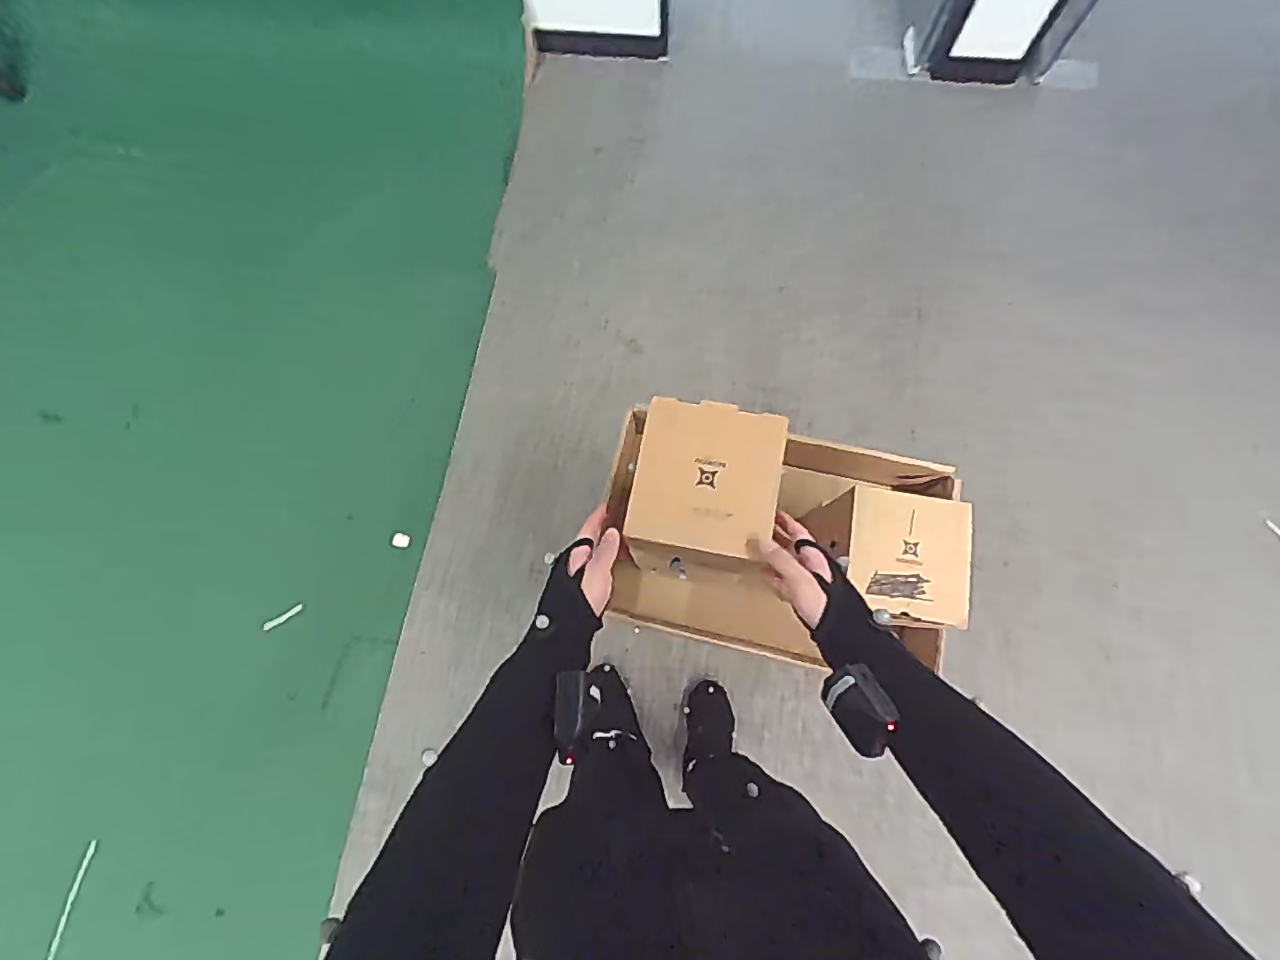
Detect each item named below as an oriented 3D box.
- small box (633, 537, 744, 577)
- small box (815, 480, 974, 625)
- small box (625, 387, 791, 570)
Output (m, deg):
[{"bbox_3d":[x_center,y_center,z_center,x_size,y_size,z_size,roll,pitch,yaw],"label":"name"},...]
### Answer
[{"bbox_3d":[0.088,0.046,0.849,0.168,0.176,0.179,11,76,6],"label":"small box"},{"bbox_3d":[0.374,0.115,0.820,0.168,0.176,0.179,10,76,5],"label":"small box"},{"bbox_3d":[0.082,0.007,0.691,0.168,0.176,0.179,11,76,6],"label":"small box"}]
